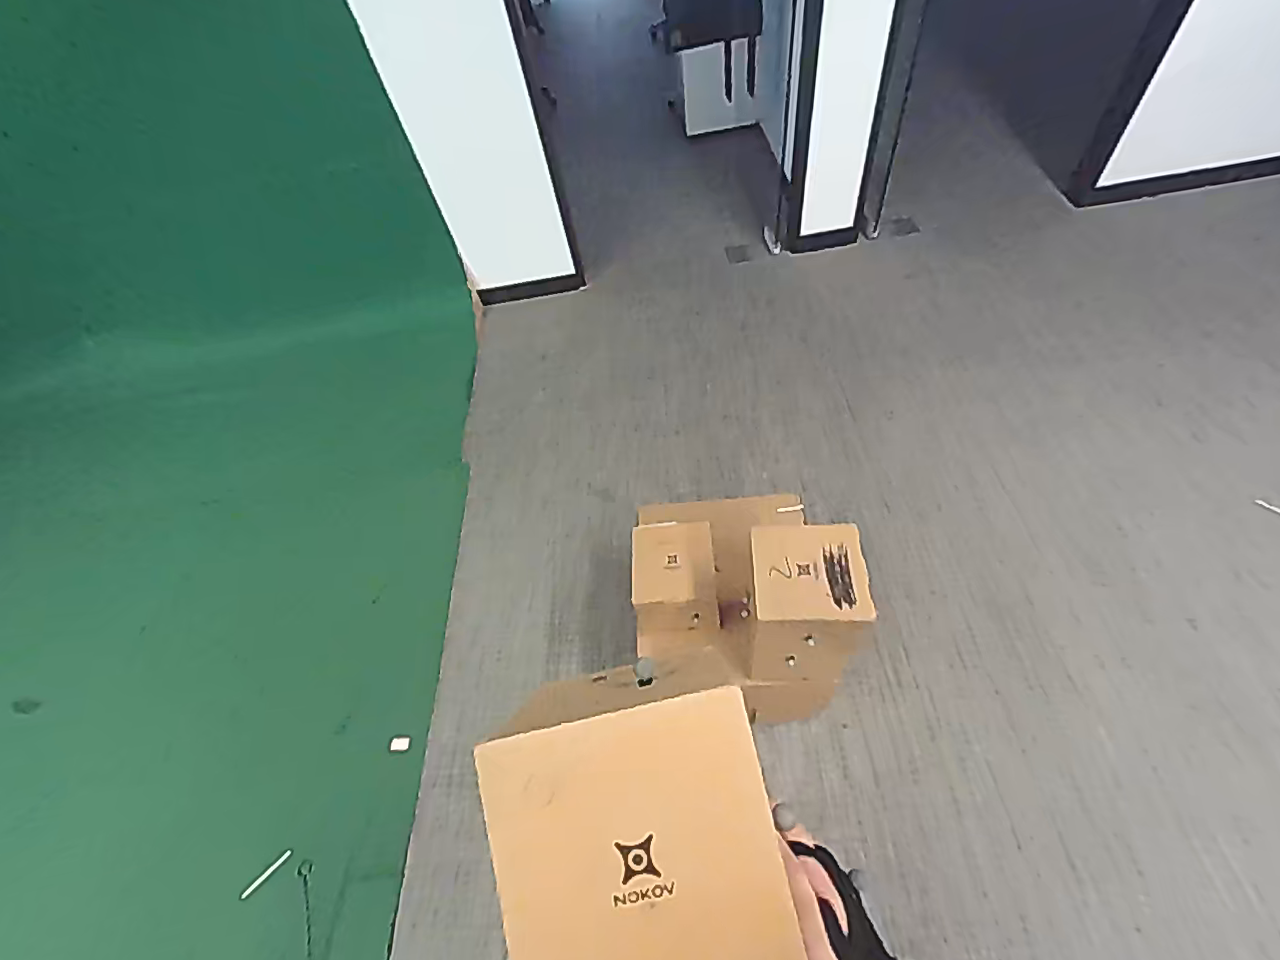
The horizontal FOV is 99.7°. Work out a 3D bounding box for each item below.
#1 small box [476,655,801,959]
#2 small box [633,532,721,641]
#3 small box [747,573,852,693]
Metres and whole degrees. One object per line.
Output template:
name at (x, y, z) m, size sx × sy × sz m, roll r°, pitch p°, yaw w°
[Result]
small box at (-0.002, 0.234, 0.393) m, size 0.168 × 0.176 × 0.179 m, roll -13°, pitch 80°, yaw 0°
small box at (0.081, 0.231, 1.140) m, size 0.168 × 0.176 × 0.179 m, roll -5°, pitch 51°, yaw 7°
small box at (0.297, 0.296, 1.046) m, size 0.168 × 0.176 × 0.179 m, roll -3°, pitch 52°, yaw 8°
